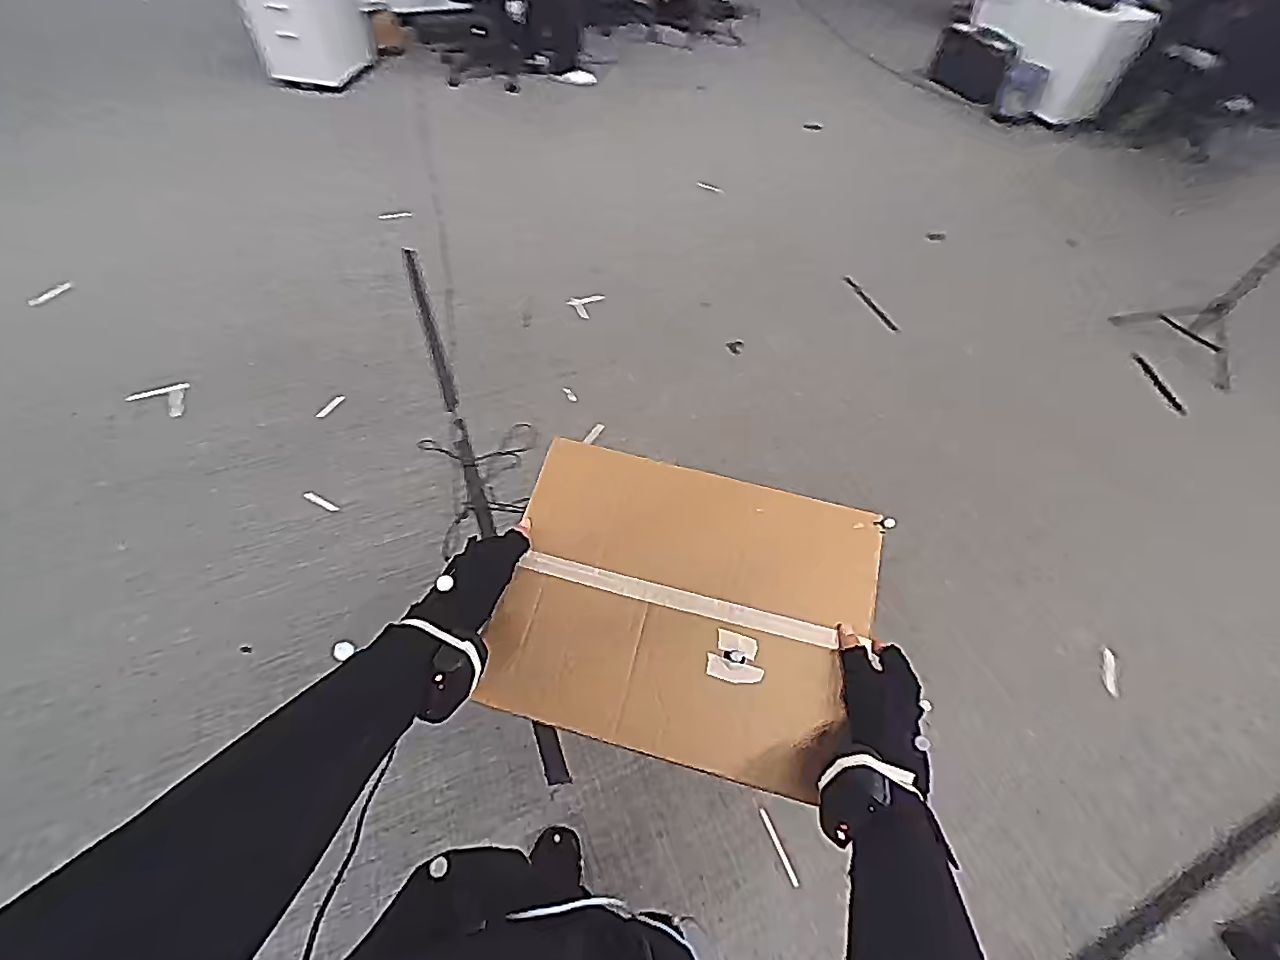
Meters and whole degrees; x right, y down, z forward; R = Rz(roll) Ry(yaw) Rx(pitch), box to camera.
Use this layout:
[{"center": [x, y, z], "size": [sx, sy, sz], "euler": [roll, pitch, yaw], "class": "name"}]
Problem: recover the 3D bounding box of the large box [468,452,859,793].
[{"center": [0.037, 0.197, 0.752], "size": [0.408, 0.320, 0.320], "euler": [13, 68, 5], "class": "large box"}]
